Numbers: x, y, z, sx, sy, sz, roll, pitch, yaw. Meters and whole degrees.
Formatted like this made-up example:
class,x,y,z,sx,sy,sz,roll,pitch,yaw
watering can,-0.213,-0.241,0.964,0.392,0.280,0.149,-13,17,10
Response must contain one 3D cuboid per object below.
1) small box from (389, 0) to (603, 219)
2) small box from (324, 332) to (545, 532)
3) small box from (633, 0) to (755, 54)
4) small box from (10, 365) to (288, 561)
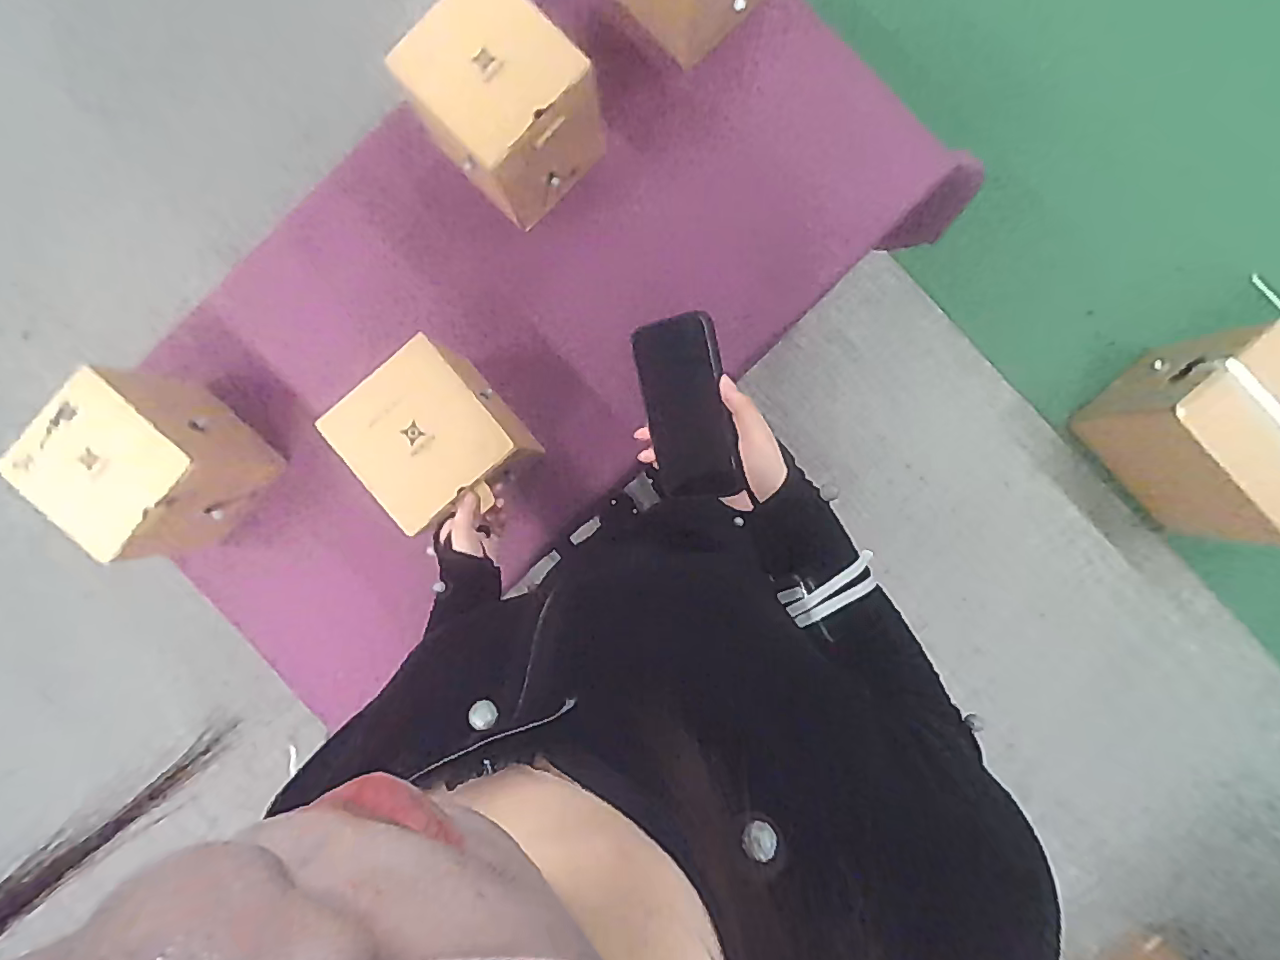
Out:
class,x,y,z,sx,sy,sz,roll,pitch,yaw
small box,-0.166,-0.475,0.685,0.179,0.176,0.168,44,93,-1
small box,-0.247,-0.058,0.701,0.168,0.176,0.179,-40,89,2
small box,0.065,-0.693,0.666,0.168,0.176,0.179,-43,90,4
small box,-0.622,-0.024,0.713,0.179,0.176,0.168,42,92,-1
